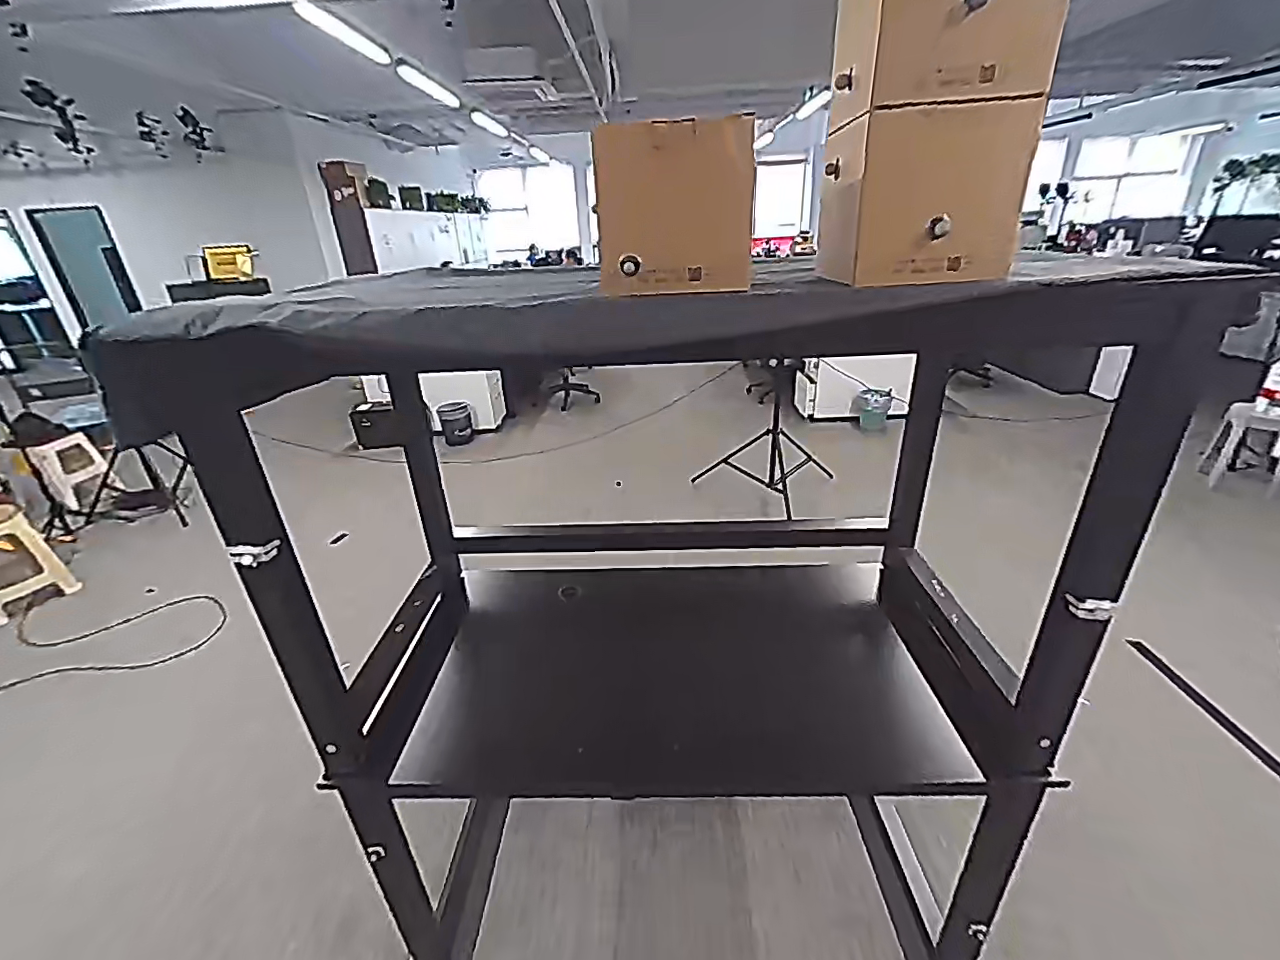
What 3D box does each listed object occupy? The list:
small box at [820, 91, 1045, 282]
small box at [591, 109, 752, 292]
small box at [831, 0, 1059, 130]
[{"bbox_3d":[0.314,-0.325,0.628,0.168,0.176,0.179,-2,24,4],"label":"small box"},{"bbox_3d":[0.039,-0.316,0.641,0.168,0.176,0.179,-2,23,3],"label":"small box"},{"bbox_3d":[0.307,-0.475,0.561,0.168,0.176,0.179,-1,25,5],"label":"small box"}]
